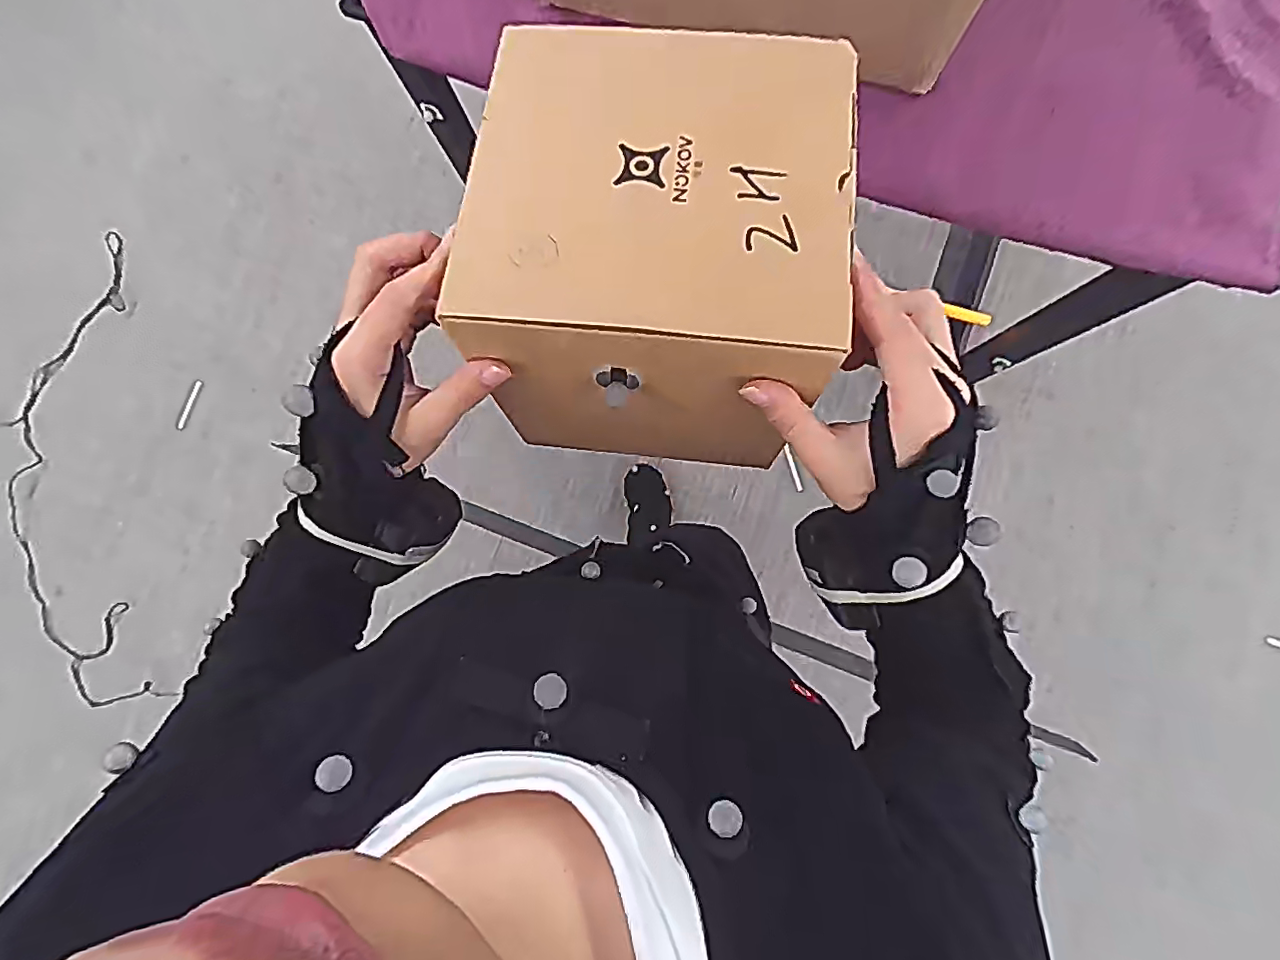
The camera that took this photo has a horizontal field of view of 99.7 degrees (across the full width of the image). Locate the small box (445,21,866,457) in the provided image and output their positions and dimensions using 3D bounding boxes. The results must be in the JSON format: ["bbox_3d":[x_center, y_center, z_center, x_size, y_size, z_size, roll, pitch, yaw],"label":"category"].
[{"bbox_3d":[0.015,-0.119,0.319,0.179,0.176,0.168,6,76,3],"label":"small box"}]
